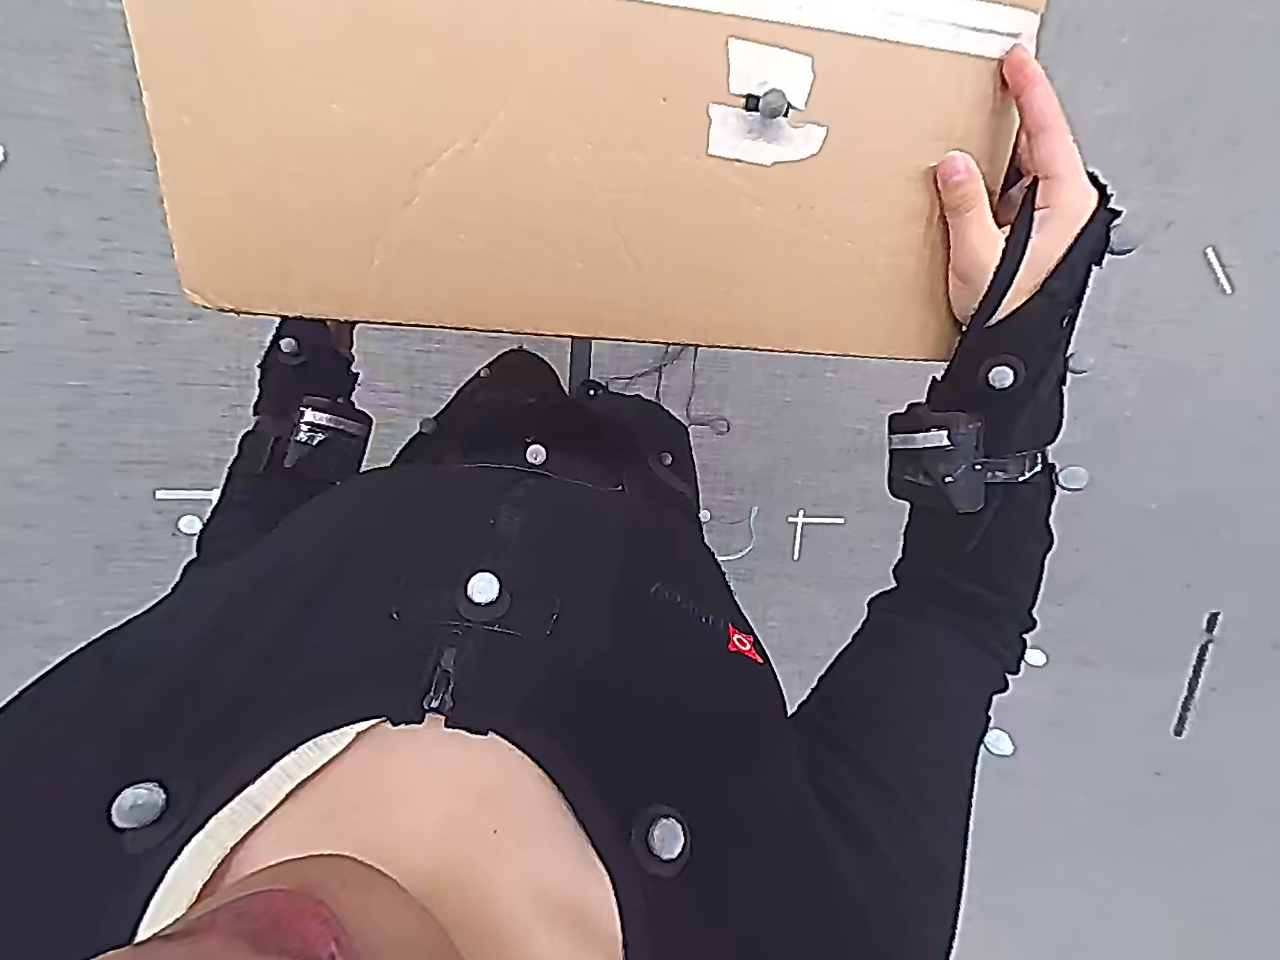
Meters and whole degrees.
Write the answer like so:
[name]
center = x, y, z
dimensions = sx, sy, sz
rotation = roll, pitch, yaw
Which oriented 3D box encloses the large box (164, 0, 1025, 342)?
[large box]
center = -0.026, -0.277, 0.388
dimensions = 0.408, 0.320, 0.320
rotation = 1, 110, -10
